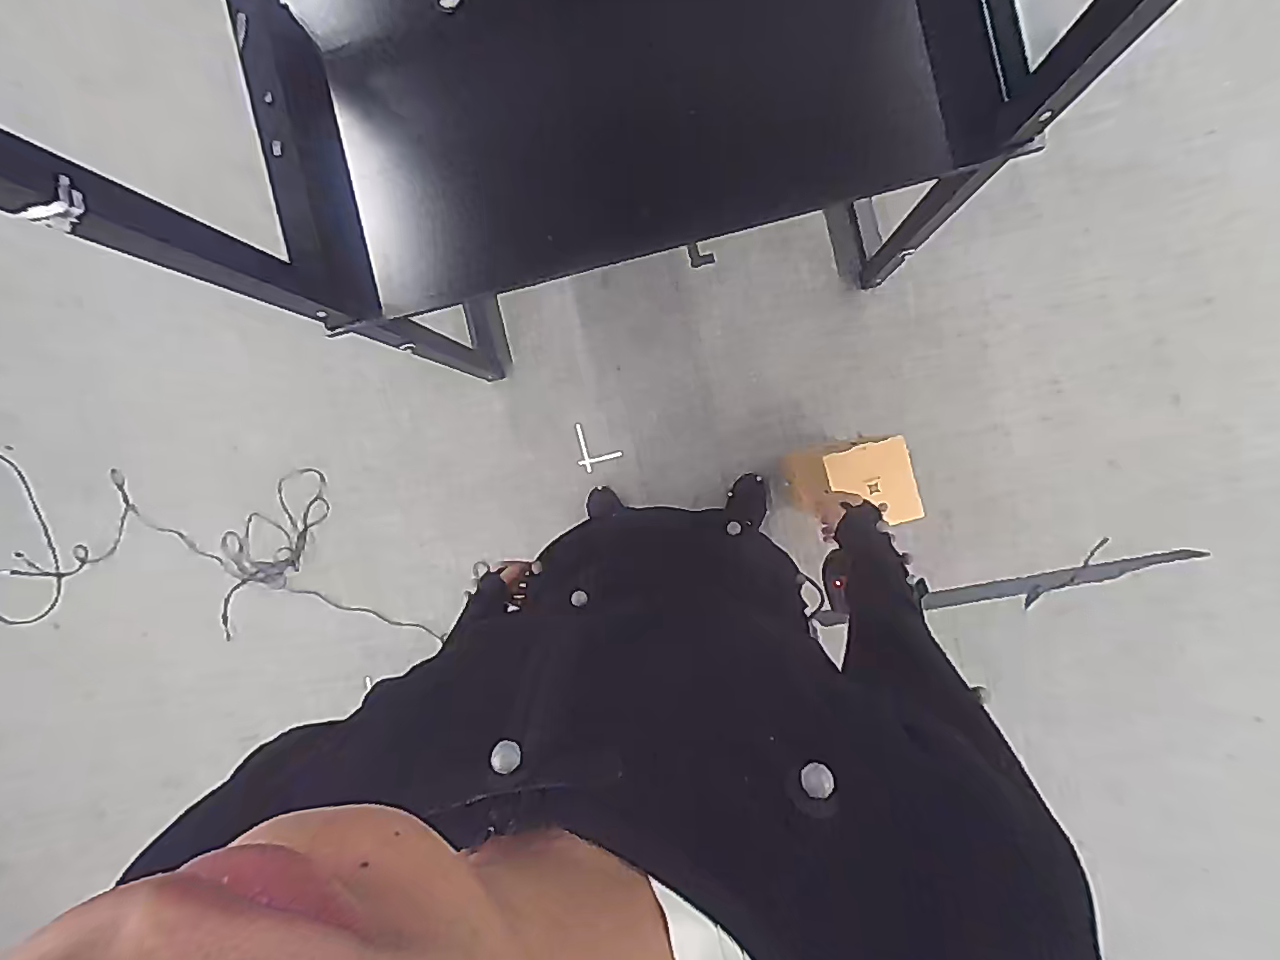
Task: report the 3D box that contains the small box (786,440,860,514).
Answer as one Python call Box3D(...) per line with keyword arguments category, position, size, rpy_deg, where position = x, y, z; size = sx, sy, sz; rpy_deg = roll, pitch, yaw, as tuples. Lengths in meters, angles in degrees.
Box3D(category="small box", position=(0.517, -0.012, 1.494), size=(0.179, 0.176, 0.168), rpy_deg=(-14, 91, 7))

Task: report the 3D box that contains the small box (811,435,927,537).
Box3D(category="small box", position=(0.485, 0.008, 1.169), size=(0.168, 0.176, 0.179), rpy_deg=(-16, 91, 7))
